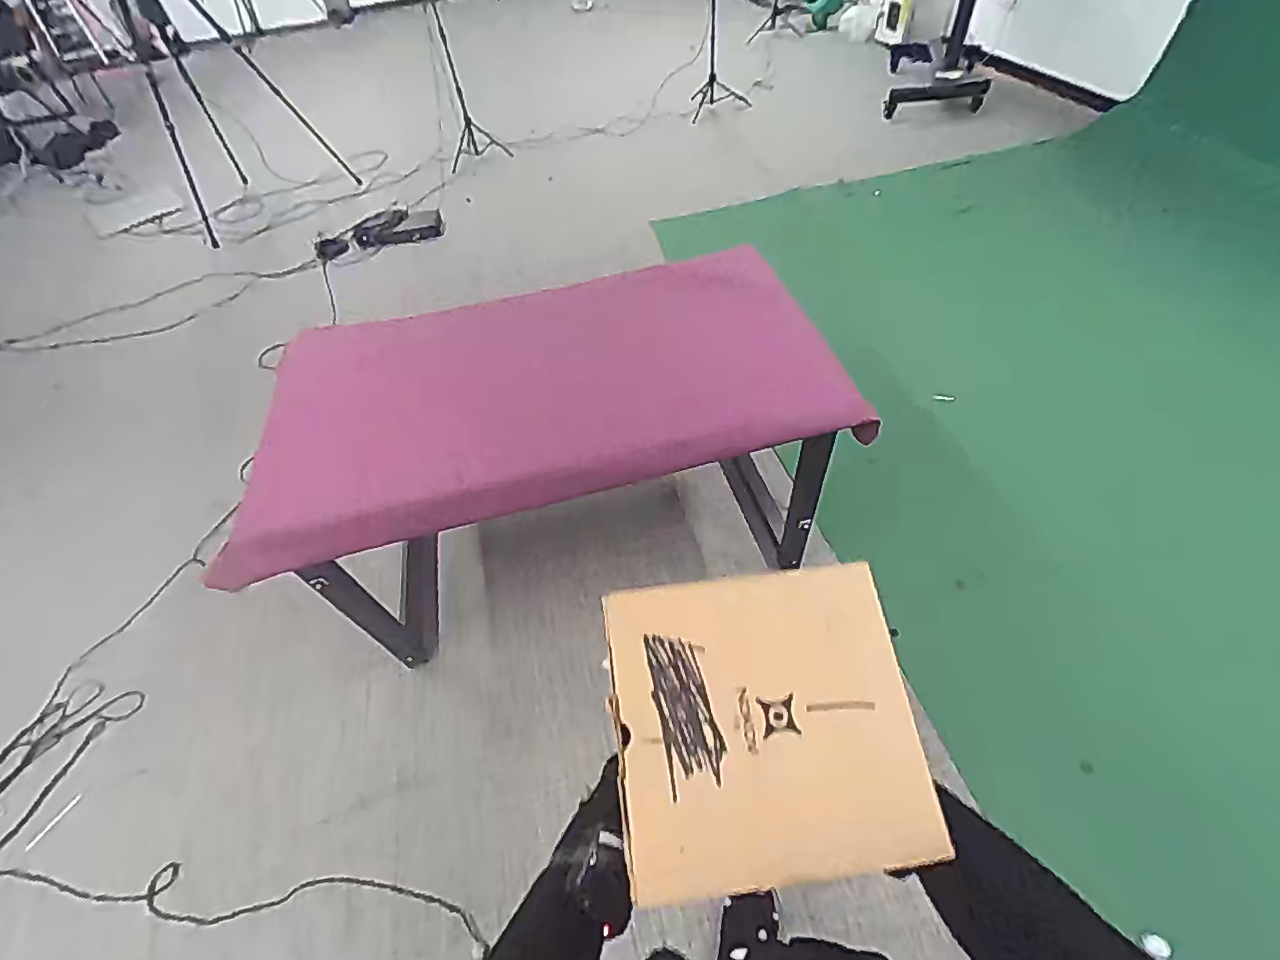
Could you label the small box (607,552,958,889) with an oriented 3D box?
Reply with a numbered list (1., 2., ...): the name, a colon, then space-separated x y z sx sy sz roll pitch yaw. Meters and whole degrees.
1. small box: 0.075 0.161 0.387 0.179 0.176 0.168 -7 67 -3
